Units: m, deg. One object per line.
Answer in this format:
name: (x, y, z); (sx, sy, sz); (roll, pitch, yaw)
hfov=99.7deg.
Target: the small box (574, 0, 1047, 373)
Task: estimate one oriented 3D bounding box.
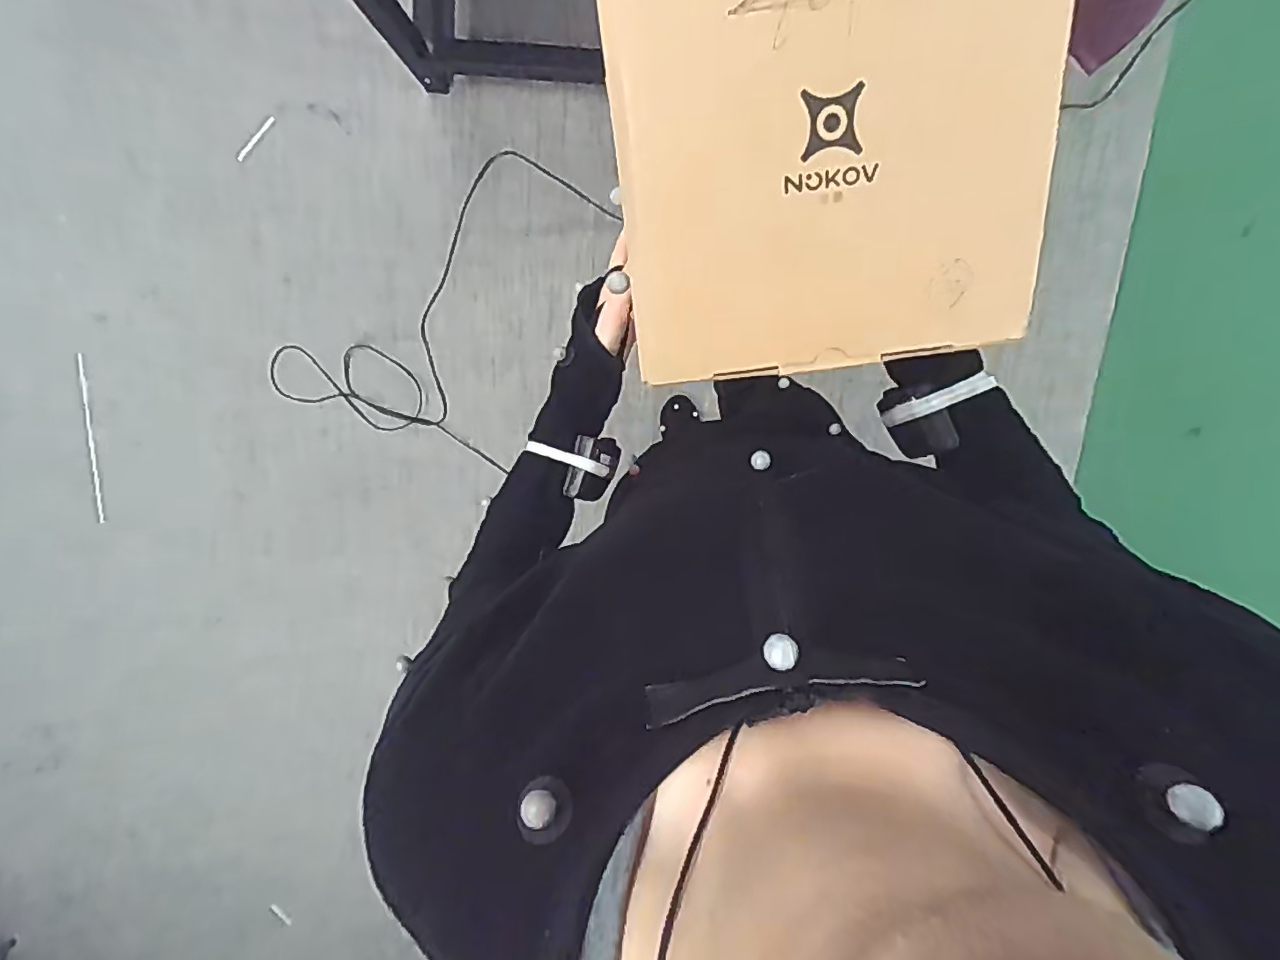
small box: (0.065, -0.163, 0.278); (0.168, 0.176, 0.179); (-6, 111, 3)
